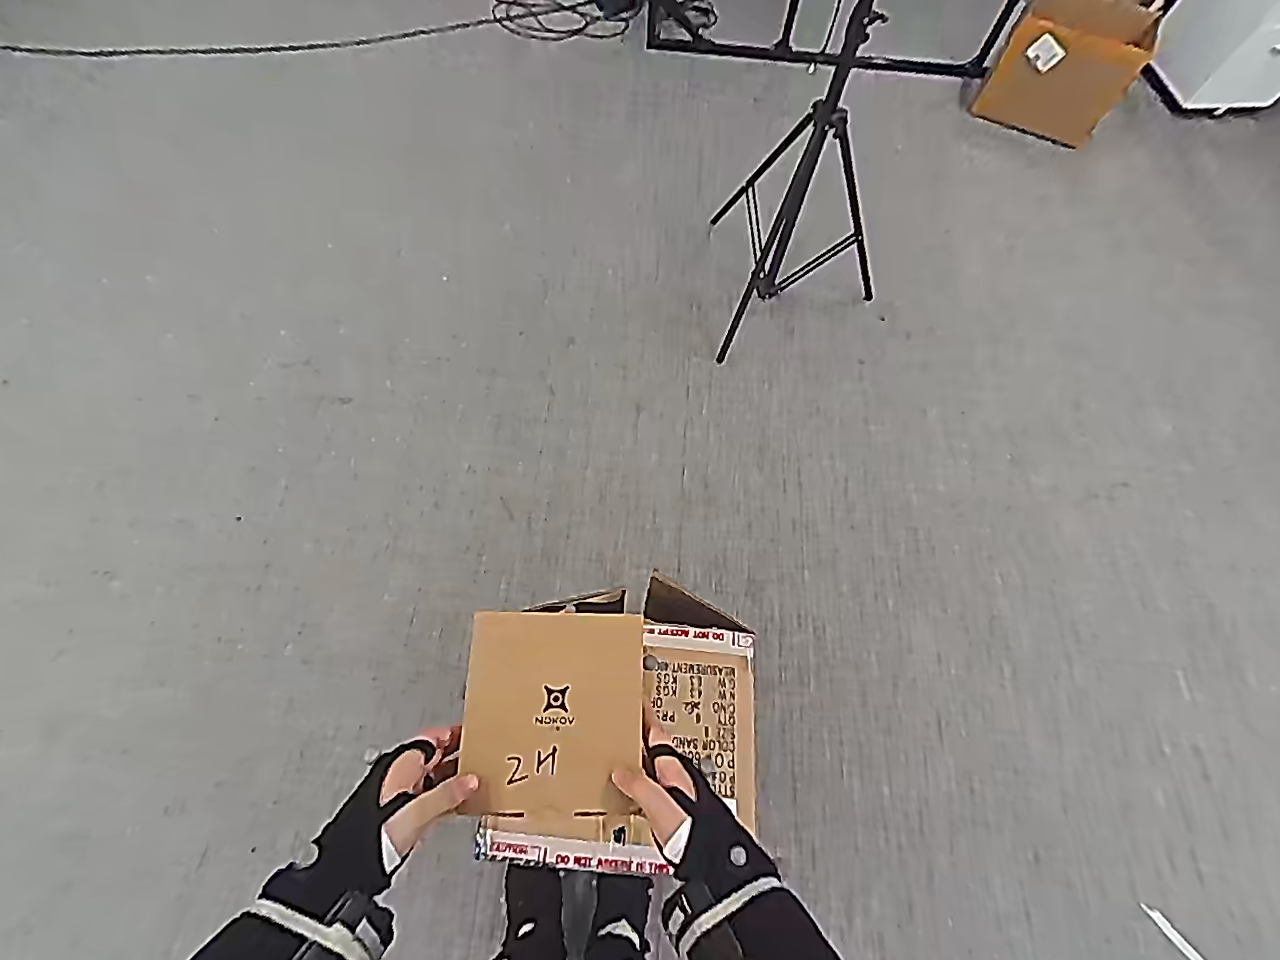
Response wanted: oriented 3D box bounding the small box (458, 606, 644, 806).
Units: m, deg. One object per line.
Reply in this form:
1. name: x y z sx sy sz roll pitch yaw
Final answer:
1. small box: -0.086 0.235 0.586 0.168 0.176 0.179 2 72 -4
